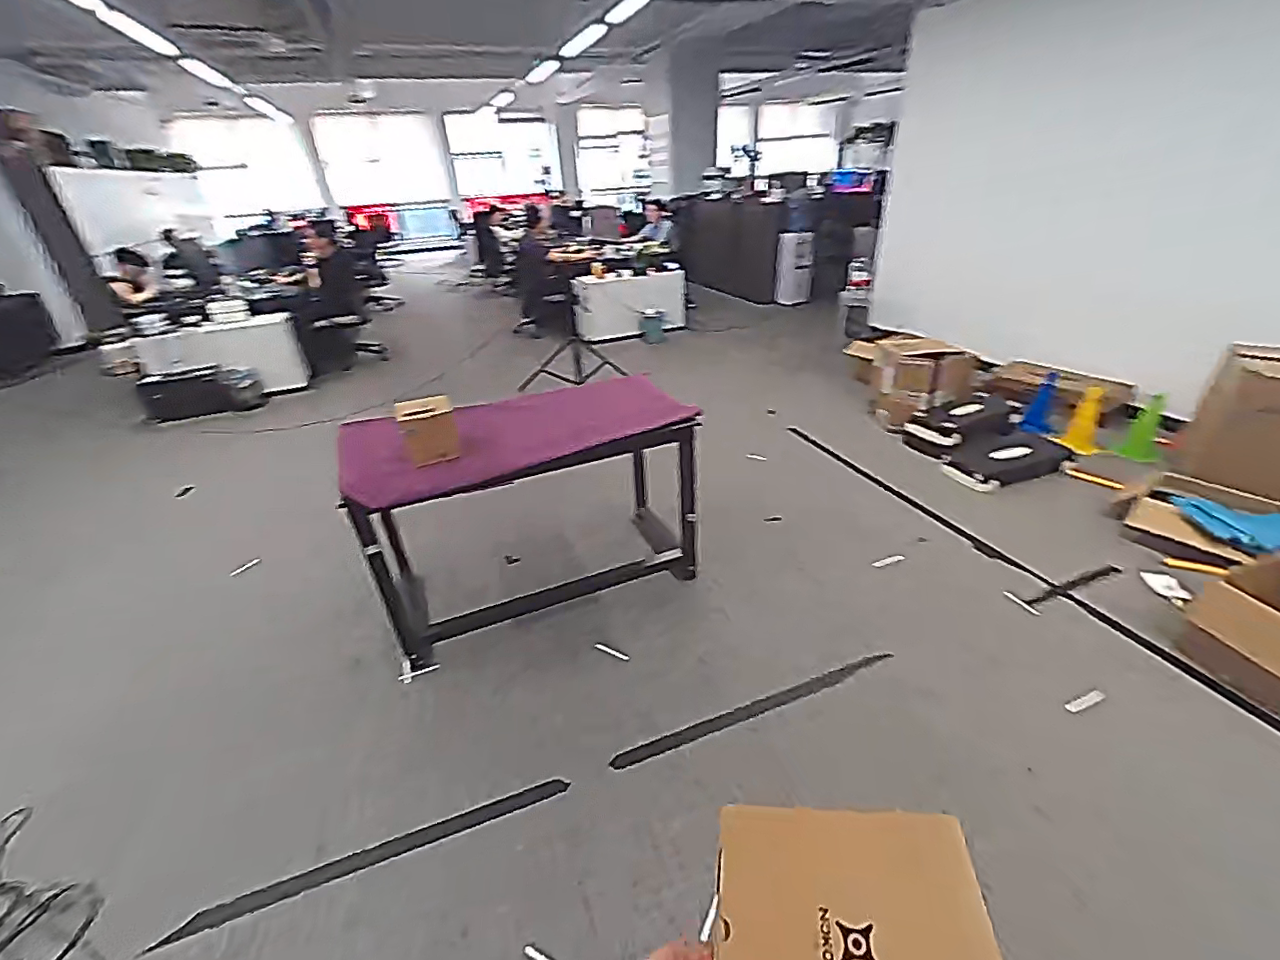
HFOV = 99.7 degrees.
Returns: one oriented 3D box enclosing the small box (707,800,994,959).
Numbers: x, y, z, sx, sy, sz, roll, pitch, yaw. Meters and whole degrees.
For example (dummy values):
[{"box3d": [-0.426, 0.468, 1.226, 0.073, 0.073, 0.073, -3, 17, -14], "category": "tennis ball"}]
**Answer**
[{"box3d": [0.149, 0.360, 0.390, 0.179, 0.176, 0.168, -8, 31, 14], "category": "small box"}]
